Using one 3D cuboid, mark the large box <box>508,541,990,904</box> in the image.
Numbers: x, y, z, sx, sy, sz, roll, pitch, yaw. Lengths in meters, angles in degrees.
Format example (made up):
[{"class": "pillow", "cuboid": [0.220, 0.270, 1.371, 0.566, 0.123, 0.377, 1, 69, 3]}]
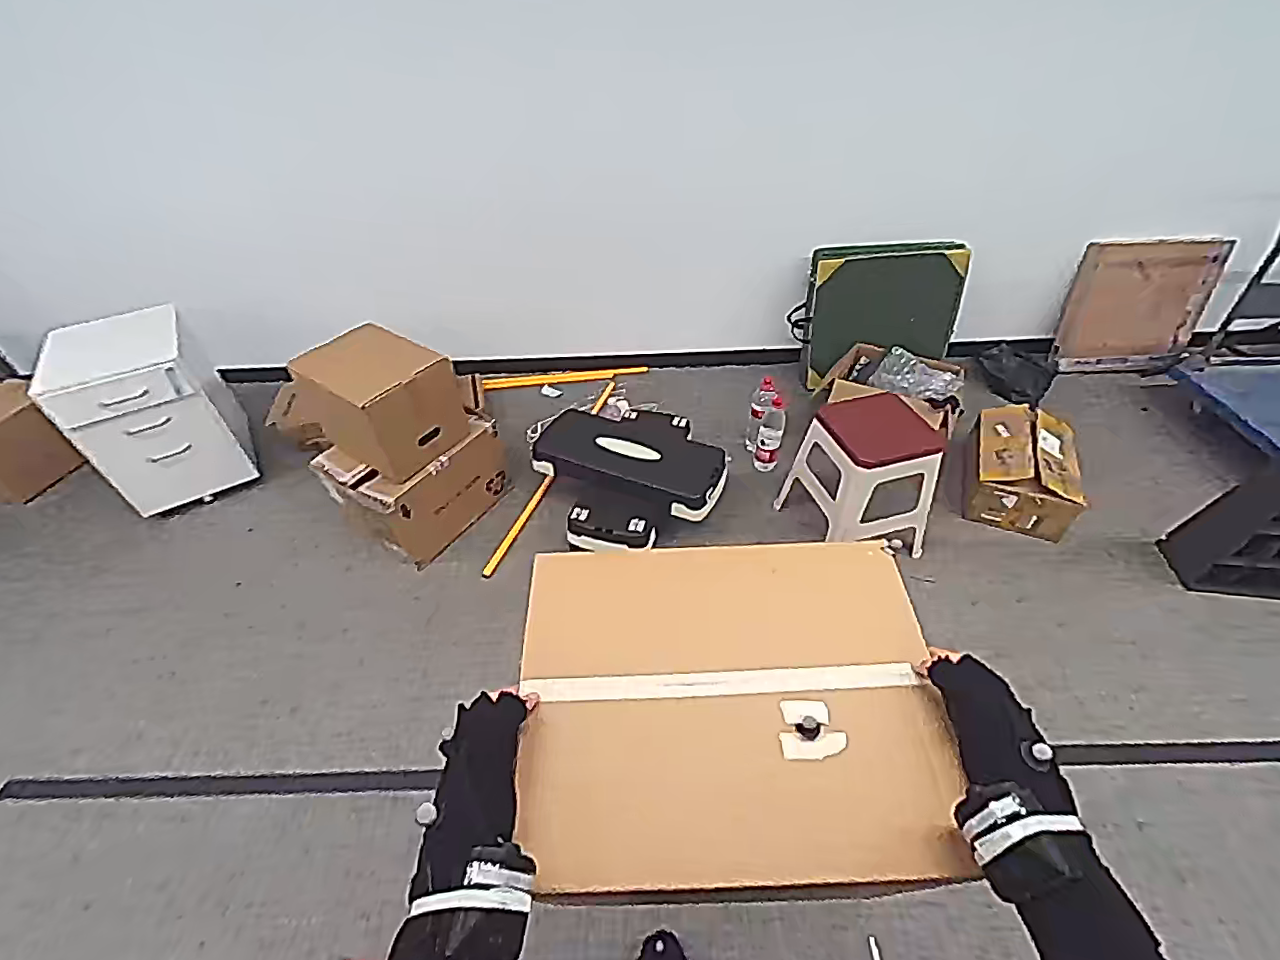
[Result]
[{"class": "large box", "cuboid": [0.086, 0.293, 0.645, 0.408, 0.320, 0.320, -2, 50, 0]}]
